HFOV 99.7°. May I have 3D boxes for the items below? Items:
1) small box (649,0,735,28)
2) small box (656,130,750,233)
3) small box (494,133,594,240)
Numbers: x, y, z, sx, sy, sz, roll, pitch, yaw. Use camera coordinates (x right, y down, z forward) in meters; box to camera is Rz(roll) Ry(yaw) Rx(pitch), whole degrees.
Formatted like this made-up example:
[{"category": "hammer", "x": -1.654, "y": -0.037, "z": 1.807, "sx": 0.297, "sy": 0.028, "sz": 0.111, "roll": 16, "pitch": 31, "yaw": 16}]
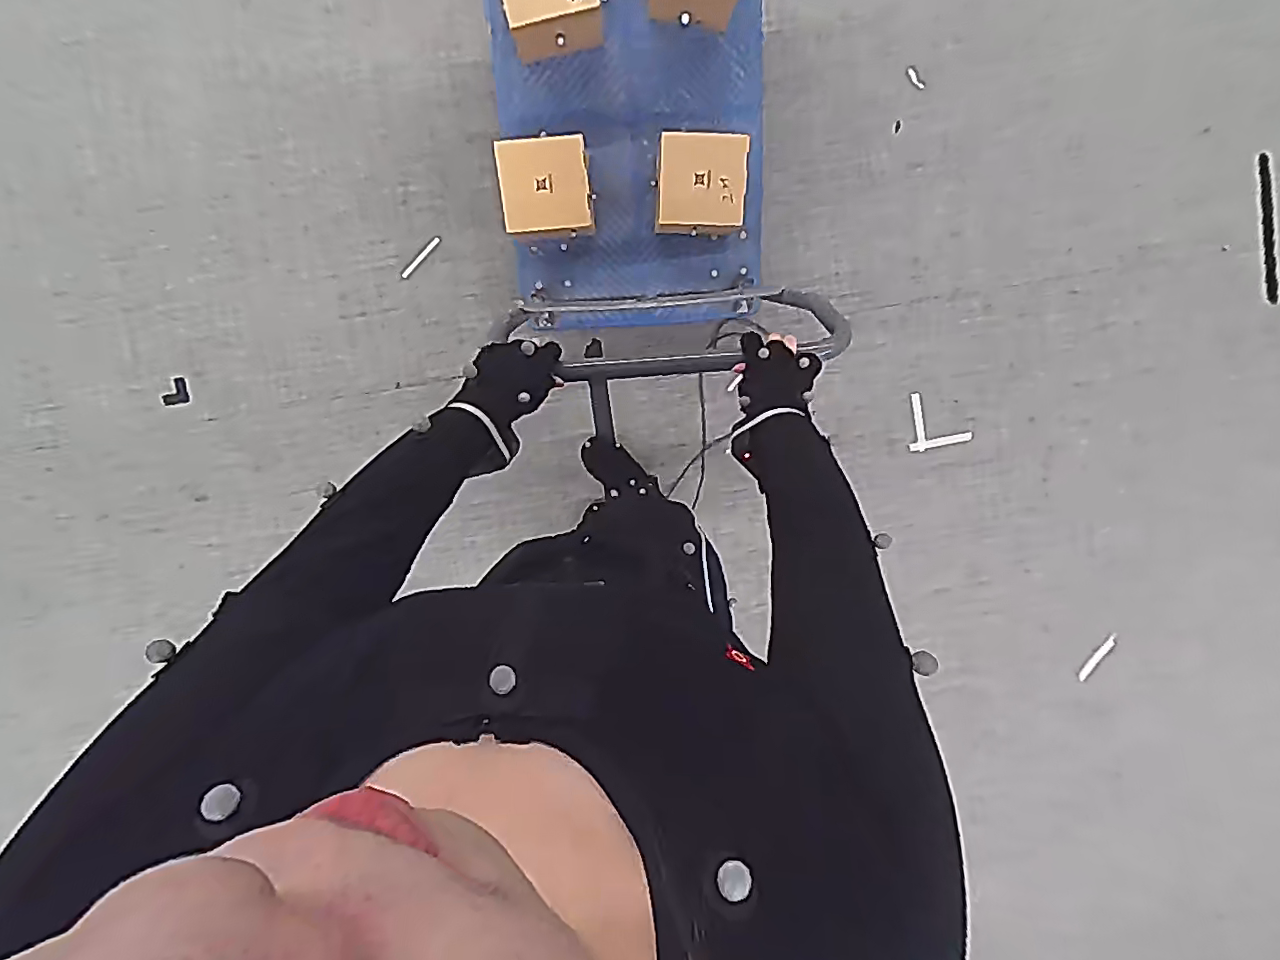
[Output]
[{"category": "small box", "x": 0.110, "y": -1.008, "z": 1.021, "sx": 0.168, "sy": 0.176, "sz": 0.179, "roll": 6, "pitch": 109, "yaw": -4}, {"category": "small box", "x": 0.125, "y": -0.625, "z": 1.150, "sx": 0.179, "sy": 0.176, "sz": 0.168, "roll": 1, "pitch": 109, "yaw": -2}, {"category": "small box", "x": -0.193, "y": -0.611, "z": 1.143, "sx": 0.179, "sy": 0.176, "sz": 0.168, "roll": -6, "pitch": 109, "yaw": -2}]
